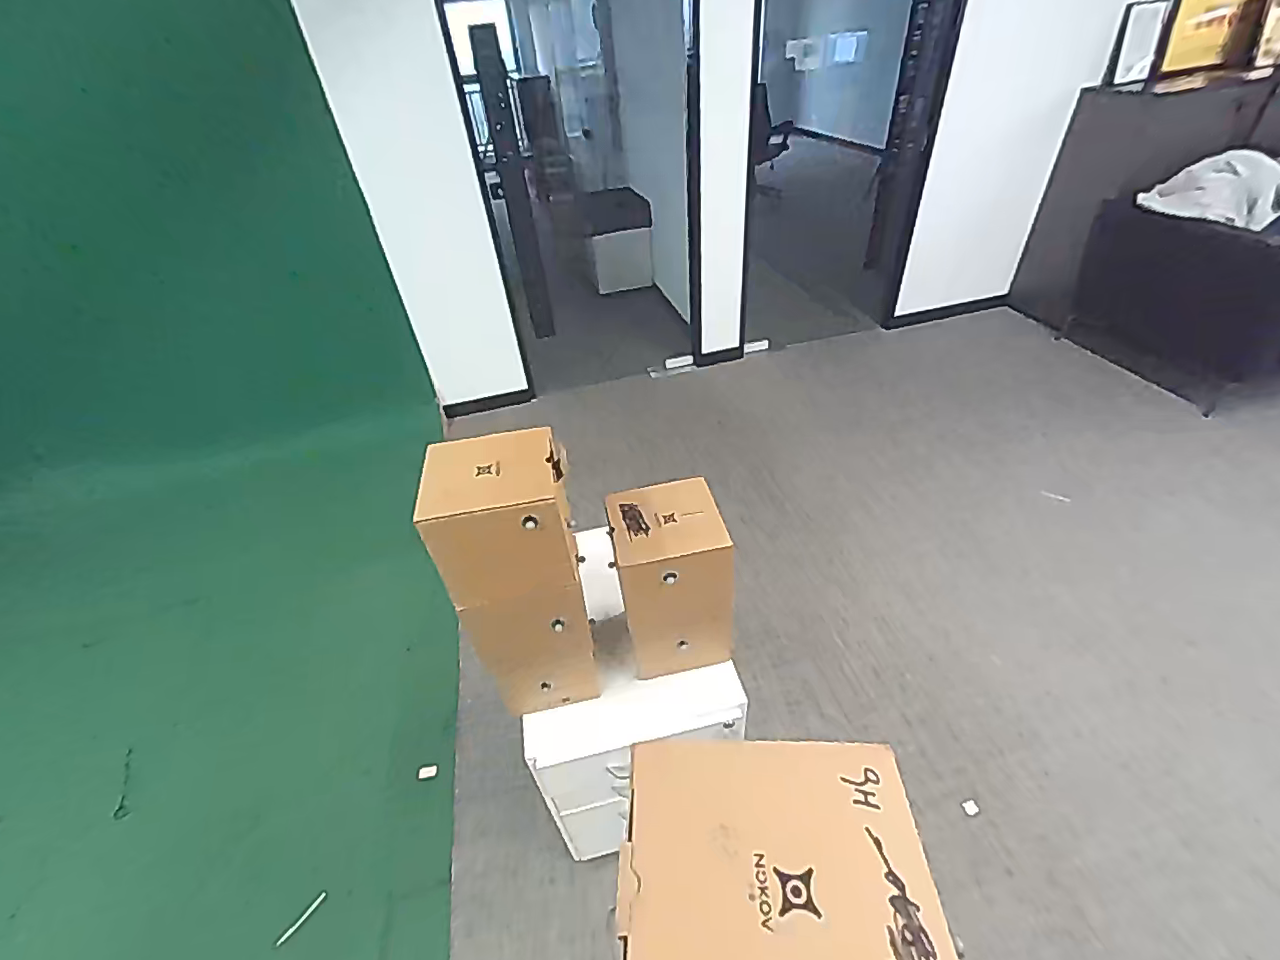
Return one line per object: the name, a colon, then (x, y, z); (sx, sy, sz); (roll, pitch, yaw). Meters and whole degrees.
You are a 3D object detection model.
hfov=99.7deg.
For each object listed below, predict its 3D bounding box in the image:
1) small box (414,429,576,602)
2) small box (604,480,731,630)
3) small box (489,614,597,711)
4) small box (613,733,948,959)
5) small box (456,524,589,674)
small box: (-0.194, 0.051, 0.763); (0.179, 0.176, 0.168); (-9, 39, -6)
small box: (0.046, 0.127, 0.897); (0.179, 0.176, 0.168); (-10, 40, -5)
small box: (-0.174, 0.294, 0.978); (0.168, 0.176, 0.179); (-9, 40, -7)
small box: (0.078, 0.290, 0.358); (0.179, 0.176, 0.168); (0, 40, 3)
small box: (-0.181, 0.180, 0.863); (0.179, 0.176, 0.168); (-11, 39, -7)
